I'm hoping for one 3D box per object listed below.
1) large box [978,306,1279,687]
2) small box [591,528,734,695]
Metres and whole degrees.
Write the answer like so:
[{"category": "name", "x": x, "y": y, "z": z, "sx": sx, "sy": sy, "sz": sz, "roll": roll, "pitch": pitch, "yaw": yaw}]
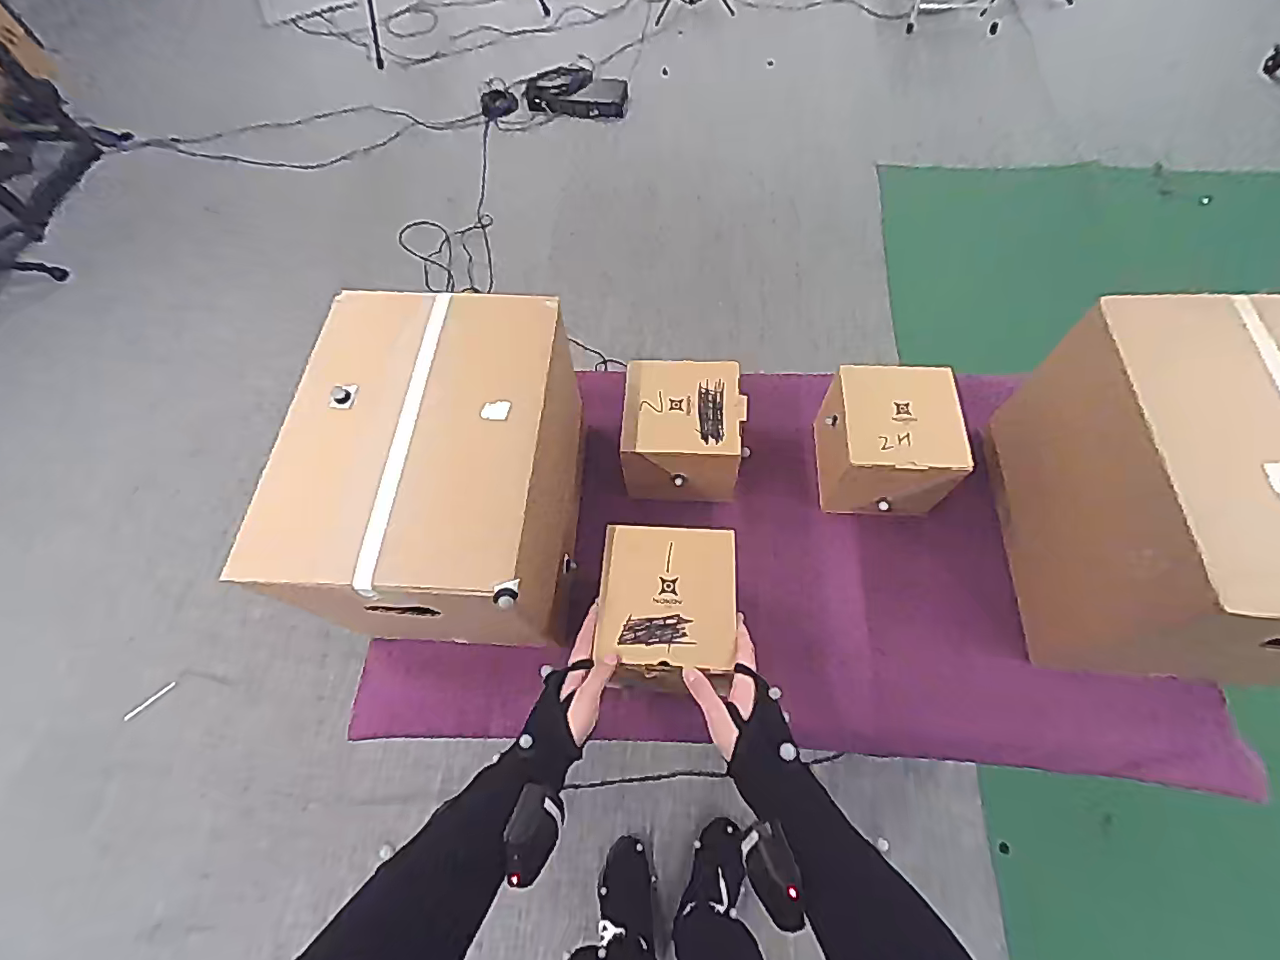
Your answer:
[{"category": "large box", "x": 0.712, "y": 0.033, "z": 0.708, "sx": 0.320, "sy": 0.320, "sz": 0.408, "roll": 2, "pitch": 63, "yaw": 6}, {"category": "small box", "x": 0.036, "y": 0.180, "z": 0.715, "sx": 0.168, "sy": 0.176, "sz": 0.179, "roll": 2, "pitch": 59, "yaw": 4}]
